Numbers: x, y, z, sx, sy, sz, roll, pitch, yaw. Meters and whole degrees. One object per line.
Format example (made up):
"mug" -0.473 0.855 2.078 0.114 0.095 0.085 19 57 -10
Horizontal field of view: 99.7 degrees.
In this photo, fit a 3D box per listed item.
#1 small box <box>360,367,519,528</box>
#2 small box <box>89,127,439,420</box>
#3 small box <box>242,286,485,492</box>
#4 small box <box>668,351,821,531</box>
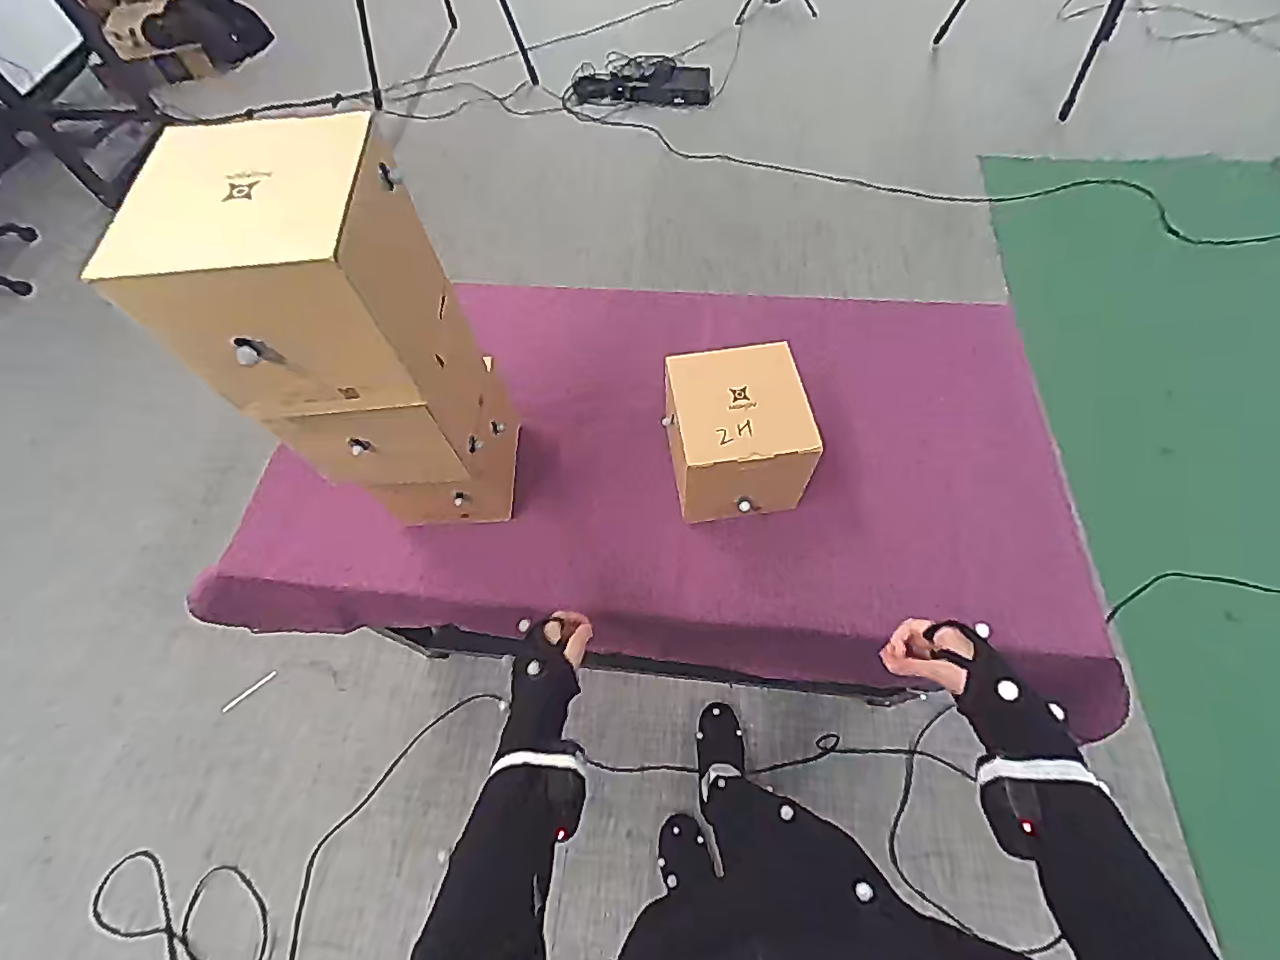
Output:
"small box" -0.277 -0.038 0.771 0.168 0.176 0.179 -2 60 1
"small box" -0.288 -0.164 0.468 0.168 0.176 0.179 -5 60 0
"small box" -0.289 -0.096 0.616 0.179 0.176 0.168 -2 61 2
"small box" 0.129 -0.050 0.750 0.168 0.176 0.179 -8 60 0
